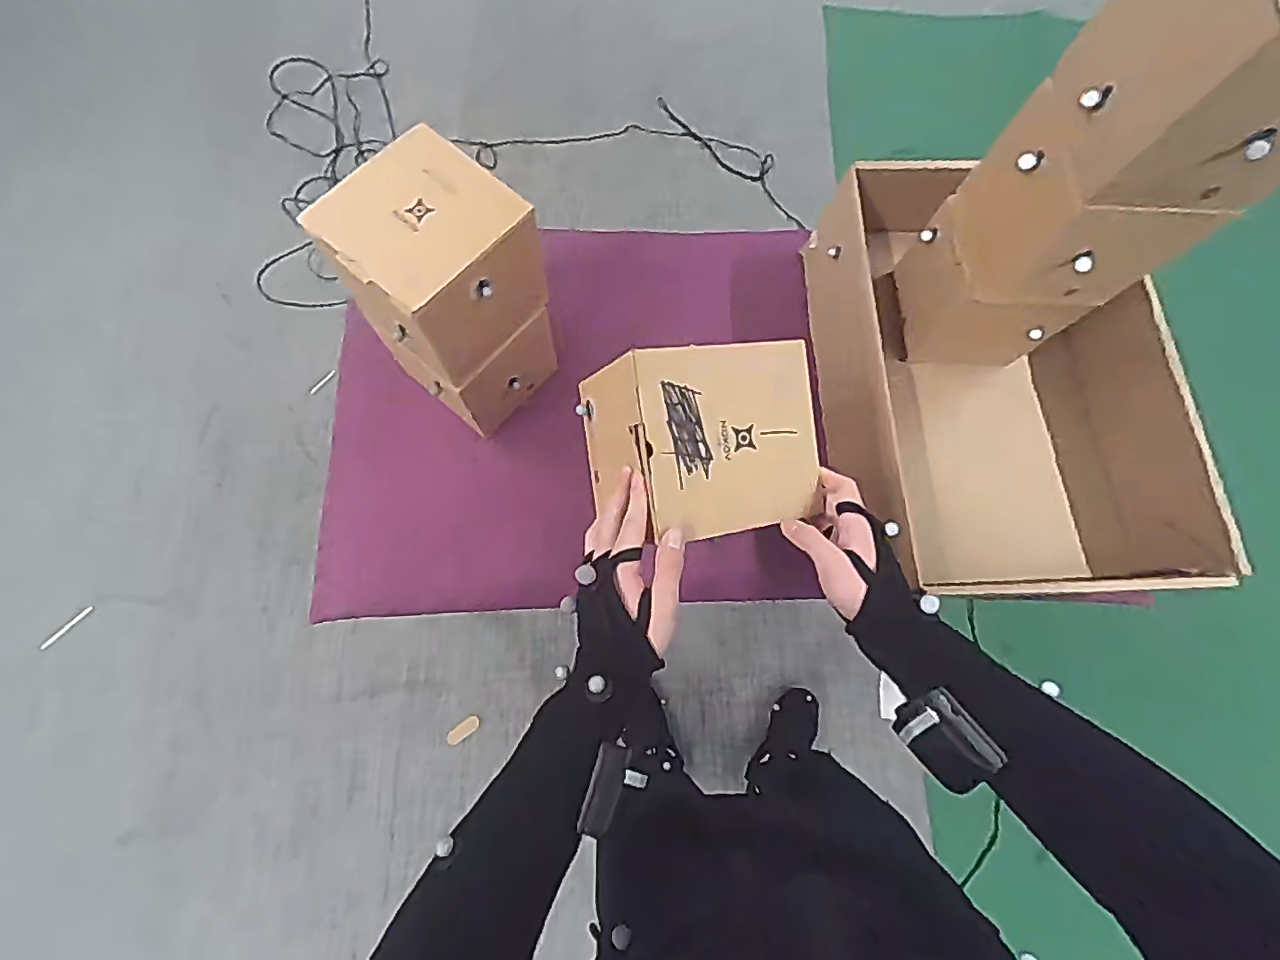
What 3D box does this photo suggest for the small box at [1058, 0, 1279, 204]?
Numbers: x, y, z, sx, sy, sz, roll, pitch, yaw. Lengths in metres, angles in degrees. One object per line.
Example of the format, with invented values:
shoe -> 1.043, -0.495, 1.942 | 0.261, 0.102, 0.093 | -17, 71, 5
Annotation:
small box -> 0.517, -0.371, 0.473 | 0.168, 0.176, 0.179 | 1, 76, -2

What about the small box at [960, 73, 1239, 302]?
small box -> 0.510, -0.327, 0.631 | 0.168, 0.176, 0.179 | 1, 75, -2

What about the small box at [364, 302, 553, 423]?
small box -> -0.244, -0.203, 0.780 | 0.179, 0.176, 0.168 | 40, 75, 8

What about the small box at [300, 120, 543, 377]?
small box -> -0.229, -0.252, 0.625 | 0.168, 0.176, 0.179 | 40, 76, 7
